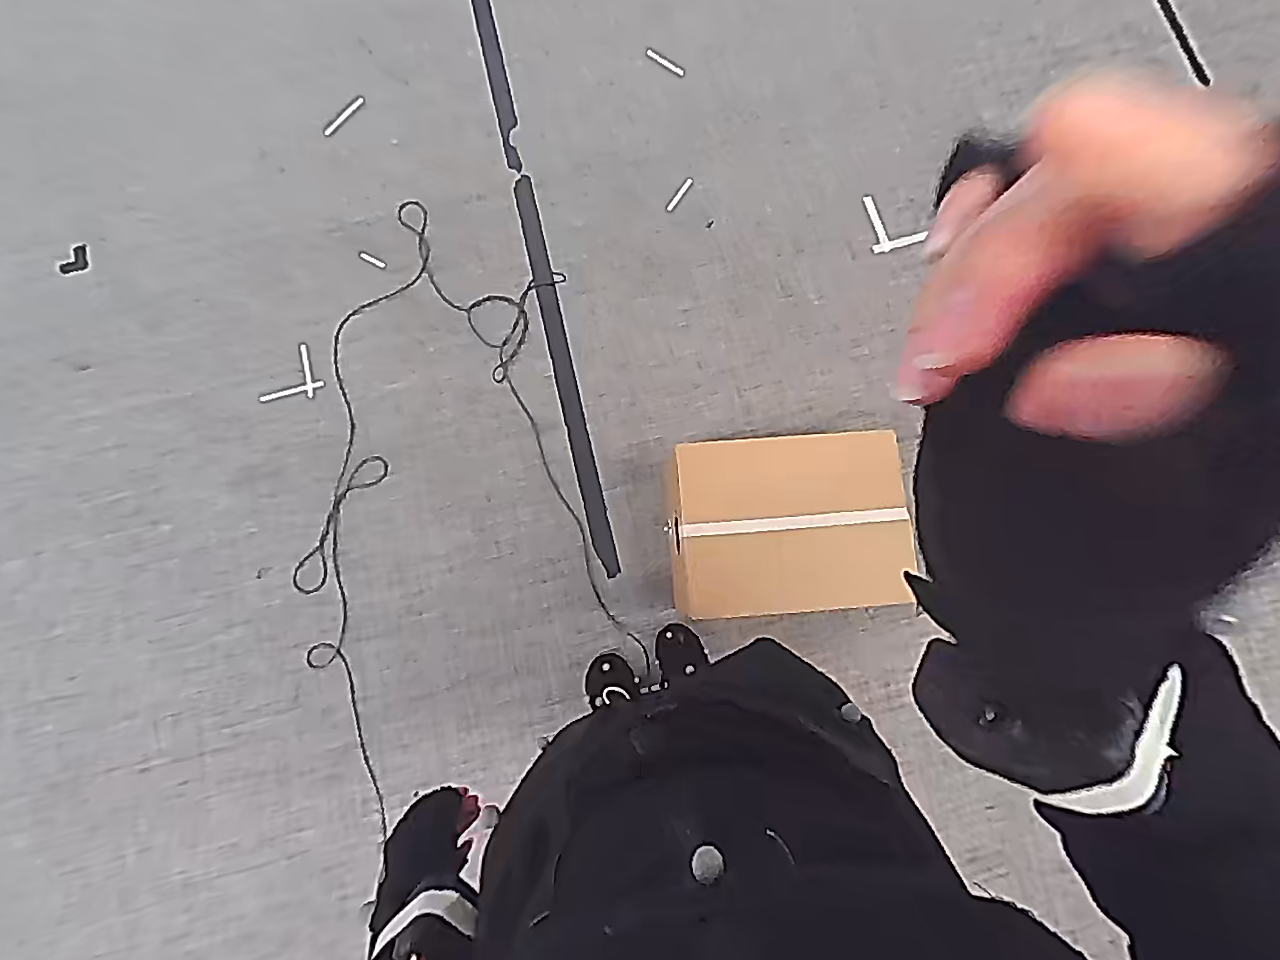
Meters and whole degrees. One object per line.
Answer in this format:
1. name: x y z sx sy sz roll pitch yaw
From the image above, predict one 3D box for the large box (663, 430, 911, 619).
1. large box: 0.266 0.098 1.109 0.408 0.320 0.320 -4 80 -2
